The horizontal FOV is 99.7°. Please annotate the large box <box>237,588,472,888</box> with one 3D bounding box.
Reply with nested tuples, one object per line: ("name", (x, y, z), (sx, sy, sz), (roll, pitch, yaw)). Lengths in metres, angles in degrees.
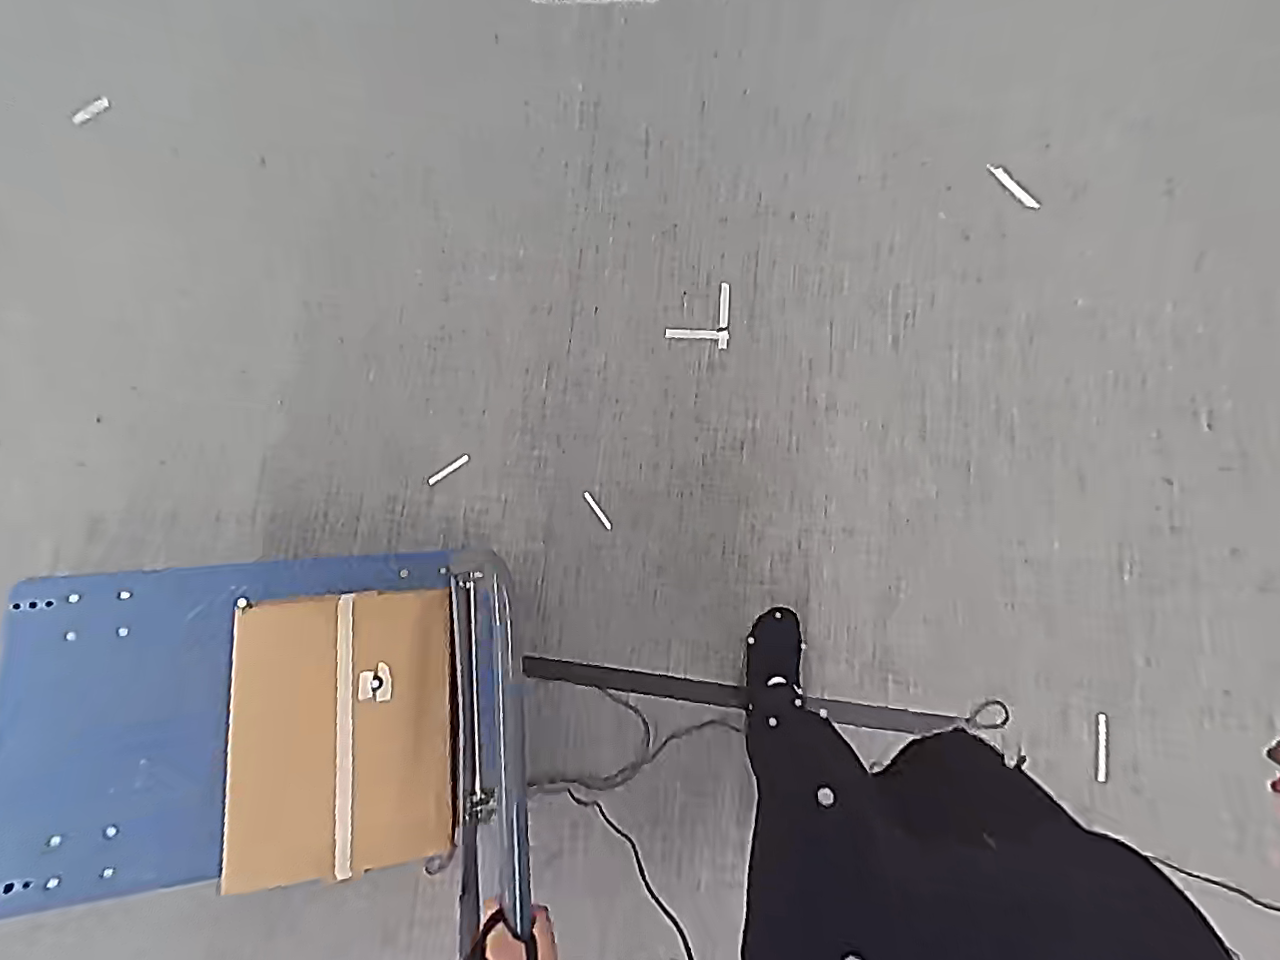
("large box", (-0.485, 0.416, 0.988), (0.320, 0.320, 0.408), (-2, 80, -15))
